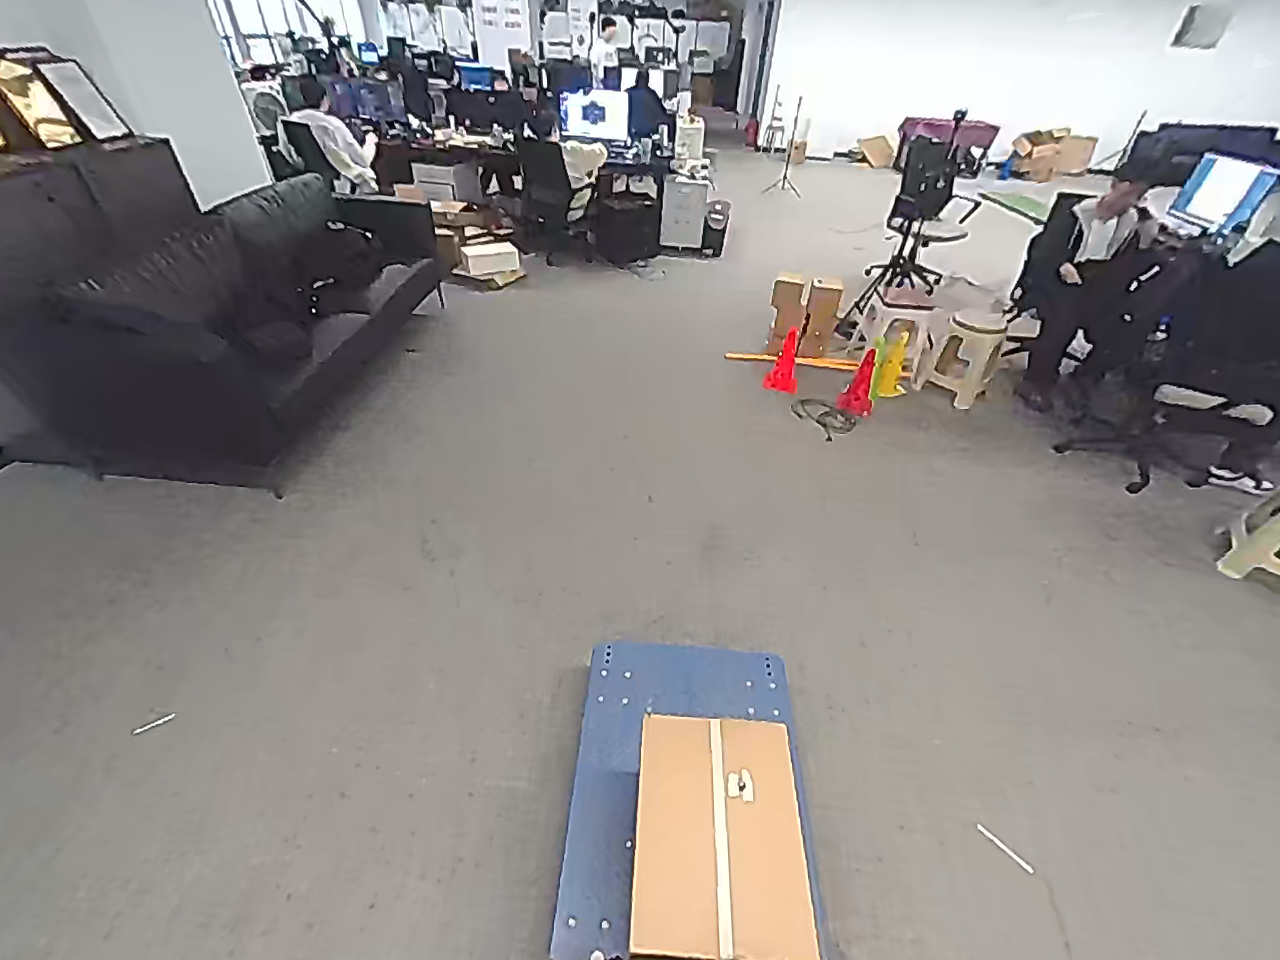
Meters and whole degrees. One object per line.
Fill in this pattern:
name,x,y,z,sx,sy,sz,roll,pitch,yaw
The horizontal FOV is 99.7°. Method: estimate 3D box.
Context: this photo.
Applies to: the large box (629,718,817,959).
large box,0.140,0.770,1.120,0.320,0.320,0.408,4,38,1
